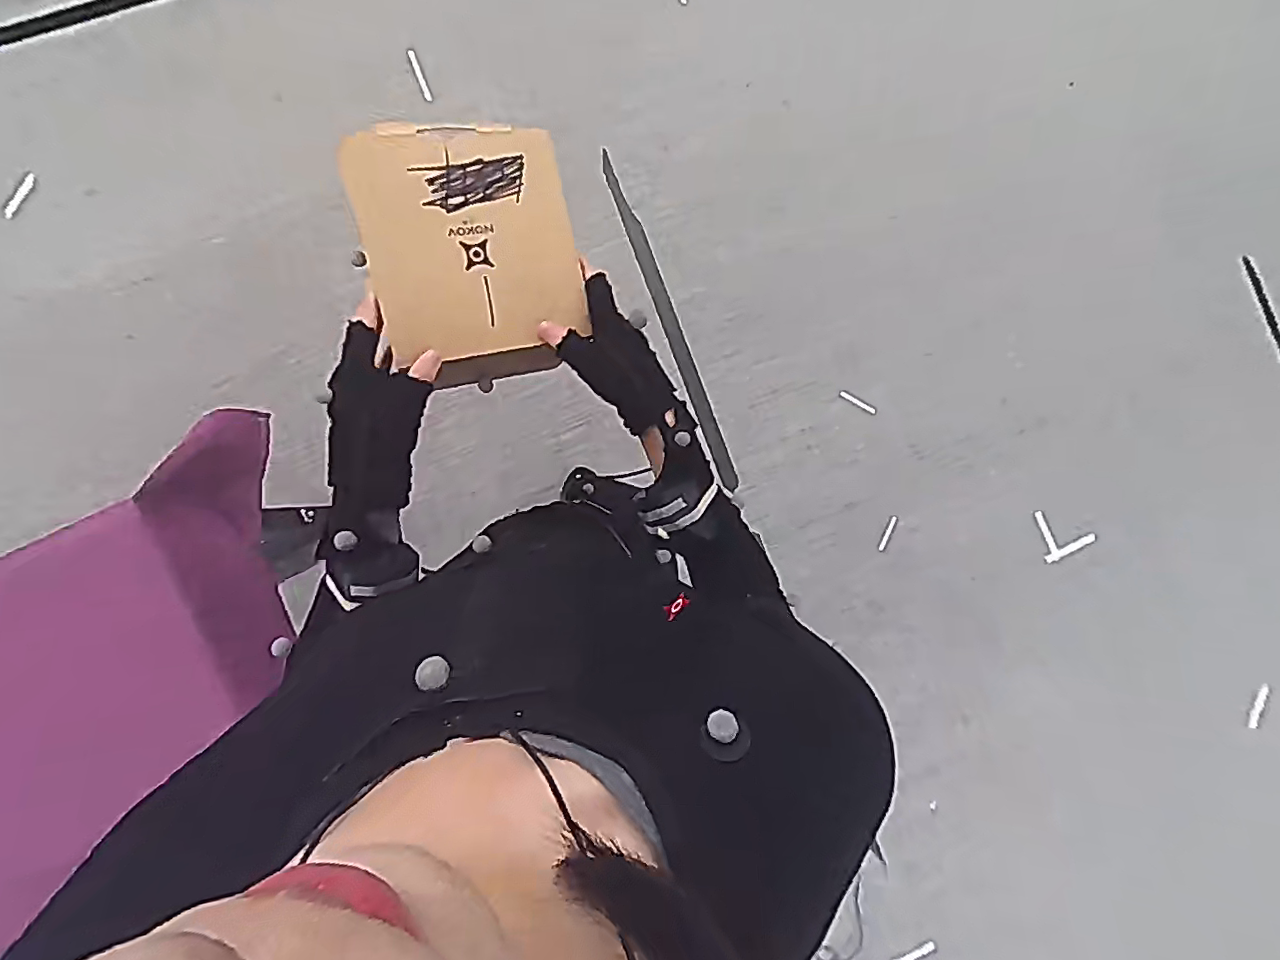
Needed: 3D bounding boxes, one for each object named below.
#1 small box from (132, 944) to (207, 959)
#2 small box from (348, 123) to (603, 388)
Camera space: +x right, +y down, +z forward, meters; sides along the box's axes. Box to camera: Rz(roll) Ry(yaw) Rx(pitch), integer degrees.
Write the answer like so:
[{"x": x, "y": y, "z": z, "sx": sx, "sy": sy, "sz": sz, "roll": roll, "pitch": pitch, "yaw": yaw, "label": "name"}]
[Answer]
[{"x": -0.637, "y": 0.707, "z": 0.639, "sx": 0.168, "sy": 0.176, "sz": 0.179, "roll": -17, "pitch": 89, "yaw": -5, "label": "small box"}, {"x": -0.152, "y": -0.193, "z": 0.501, "sx": 0.168, "sy": 0.176, "sz": 0.179, "roll": -15, "pitch": 97, "yaw": -20, "label": "small box"}]
